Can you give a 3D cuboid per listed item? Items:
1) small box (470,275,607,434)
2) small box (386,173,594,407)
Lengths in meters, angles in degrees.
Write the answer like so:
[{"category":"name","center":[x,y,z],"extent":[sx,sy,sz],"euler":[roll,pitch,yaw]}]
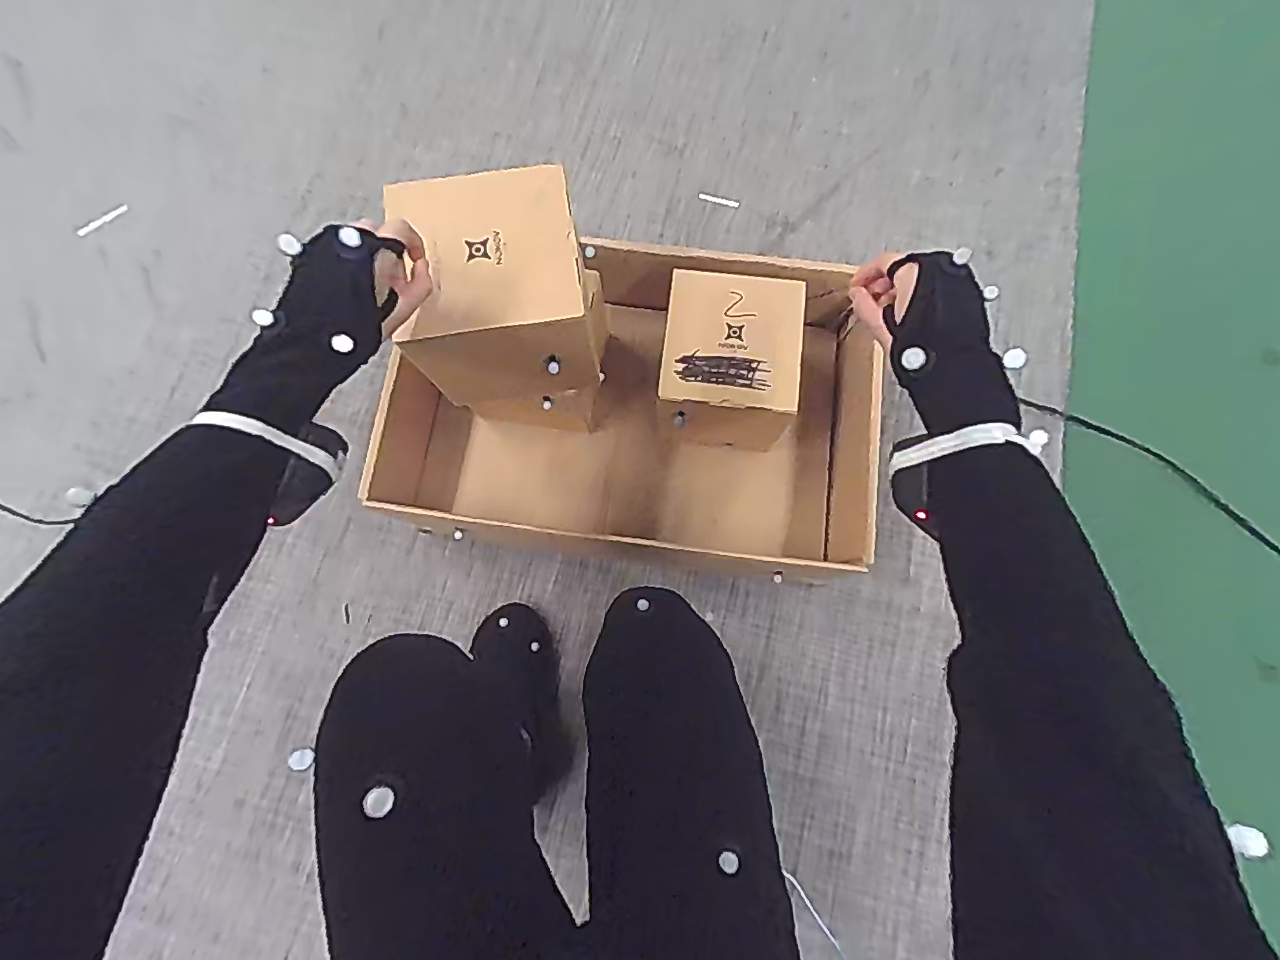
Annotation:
[{"category":"small box","center":[-0.148,-0.171,0.741],"extent":[0.179,0.176,0.168],"euler":[8,78,2]},{"category":"small box","center":[-0.145,-0.189,0.578],"extent":[0.179,0.176,0.168],"euler":[-8,78,-1]}]
